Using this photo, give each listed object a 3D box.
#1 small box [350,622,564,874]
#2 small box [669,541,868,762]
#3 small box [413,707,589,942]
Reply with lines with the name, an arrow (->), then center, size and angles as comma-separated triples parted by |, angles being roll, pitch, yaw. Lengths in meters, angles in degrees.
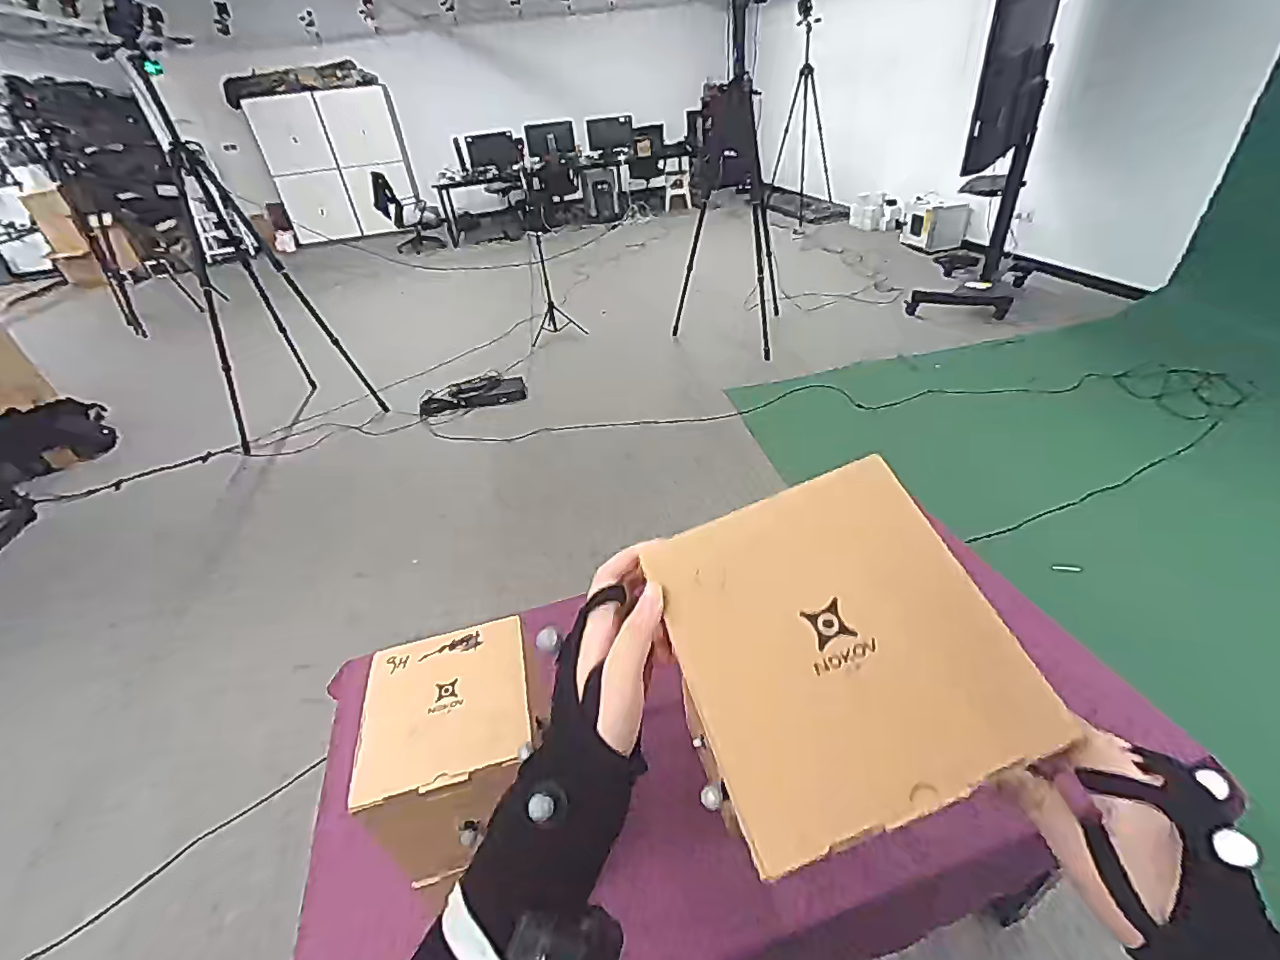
small box -> -0.186, 0.293, 0.590 | 0.168, 0.176, 0.179 | -13, 36, -9
small box -> 0.145, 0.208, 0.651 | 0.168, 0.176, 0.179 | -14, 34, -10
small box -> -0.168, 0.429, 0.682 | 0.168, 0.176, 0.179 | -14, 36, -9
